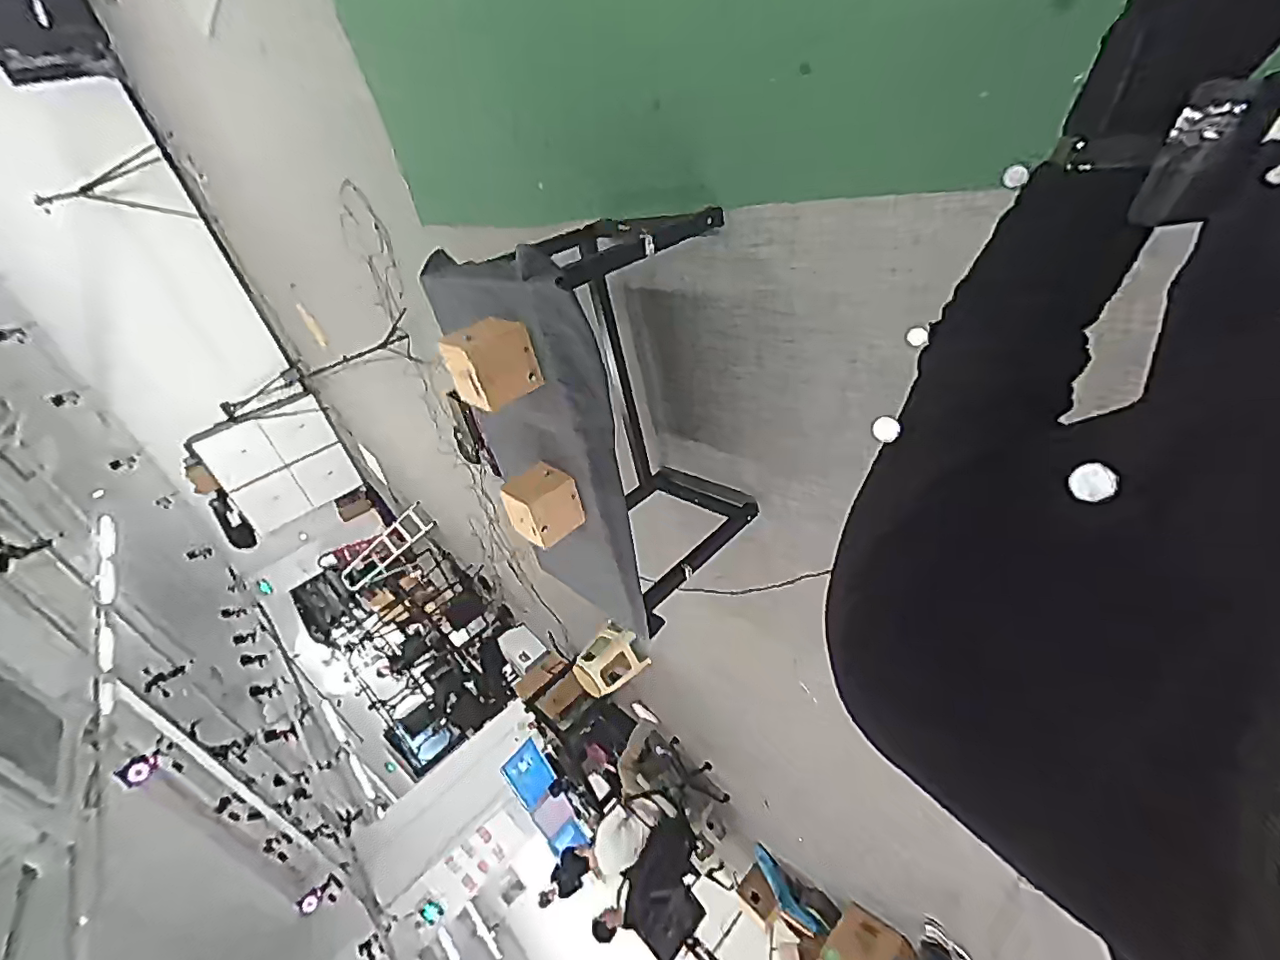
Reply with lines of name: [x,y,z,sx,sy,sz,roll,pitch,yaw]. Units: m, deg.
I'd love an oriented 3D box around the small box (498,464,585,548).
small box: [-0.296,0.071,1.638,0.179,0.176,0.168,23,138,43]

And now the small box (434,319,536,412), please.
small box: [-0.383,-0.297,1.375,0.179,0.176,0.168,24,139,43]
